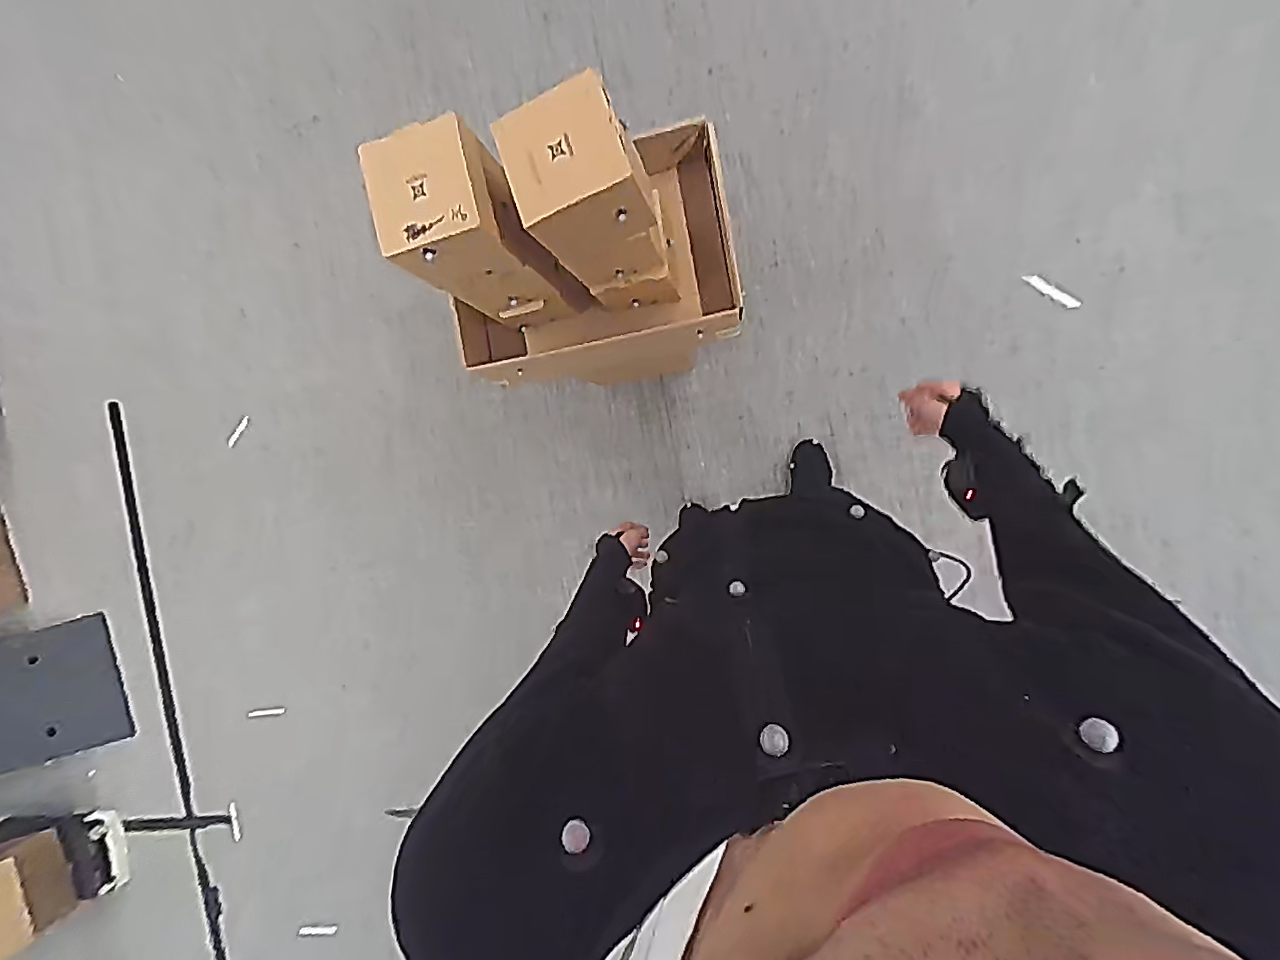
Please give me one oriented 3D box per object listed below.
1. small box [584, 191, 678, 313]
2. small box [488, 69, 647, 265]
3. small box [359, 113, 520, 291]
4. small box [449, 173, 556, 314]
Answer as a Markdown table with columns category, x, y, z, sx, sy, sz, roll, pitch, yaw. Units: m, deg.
| category | x | y | z | sx | sy | sz | roll | pitch | yaw |
| --- | --- | --- | --- | --- | --- | --- | --- | --- | --- |
| small box | -0.019 | -0.475 | 1.152 | 0.168 | 0.176 | 0.179 | -7 | 91 | 14 |
| small box | -0.097 | -0.464 | 0.833 | 0.179 | 0.176 | 0.168 | -20 | 87 | 13 |
| small box | -0.313 | -0.433 | 0.872 | 0.168 | 0.176 | 0.179 | -12 | 89 | 12 |
| small box | -0.277 | -0.440 | 1.034 | 0.168 | 0.176 | 0.179 | -12 | 90 | 11 |
